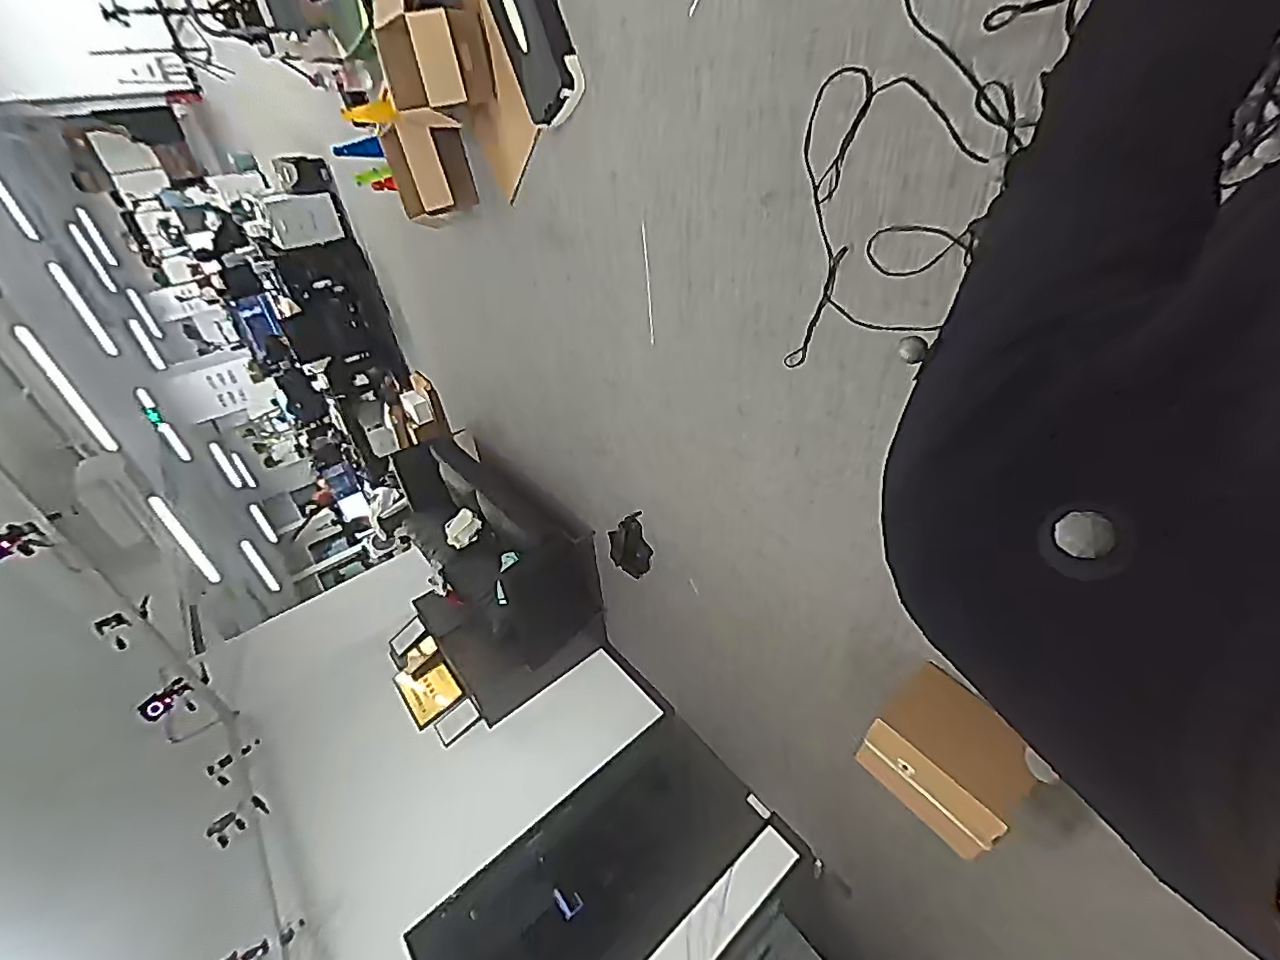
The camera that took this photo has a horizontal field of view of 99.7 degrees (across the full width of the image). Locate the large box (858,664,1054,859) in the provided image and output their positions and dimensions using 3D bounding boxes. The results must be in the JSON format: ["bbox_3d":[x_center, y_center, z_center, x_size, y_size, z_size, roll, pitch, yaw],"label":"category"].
[{"bbox_3d":[0.998,0.890,1.743,0.408,0.320,0.320,39,144,37],"label":"large box"}]
